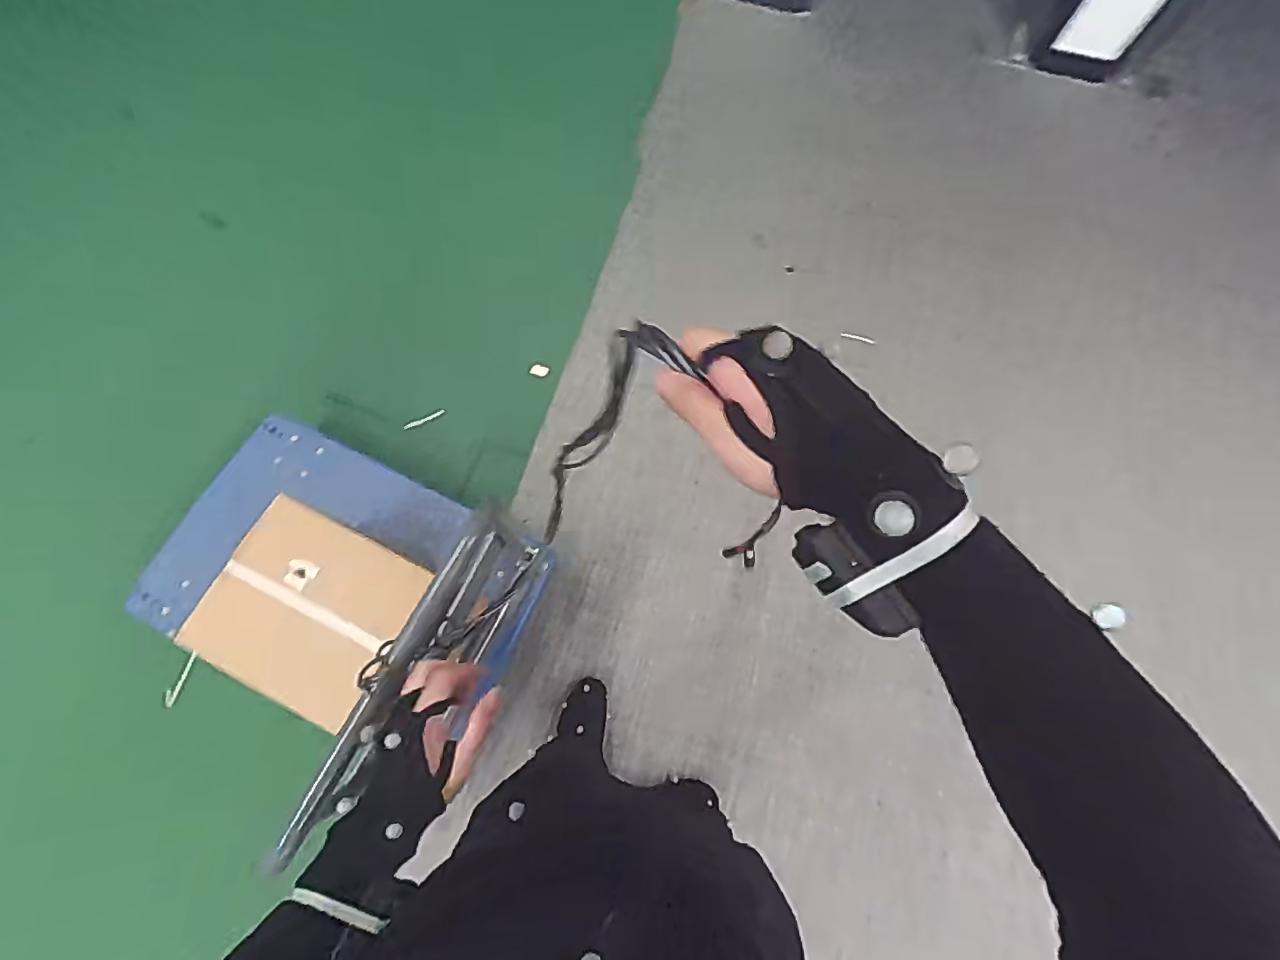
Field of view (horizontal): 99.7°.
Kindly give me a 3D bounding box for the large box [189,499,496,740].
[{"bbox_3d":[-0.584,0.289,1.147,0.408,0.320,0.320,25,73,7],"label":"large box"}]
